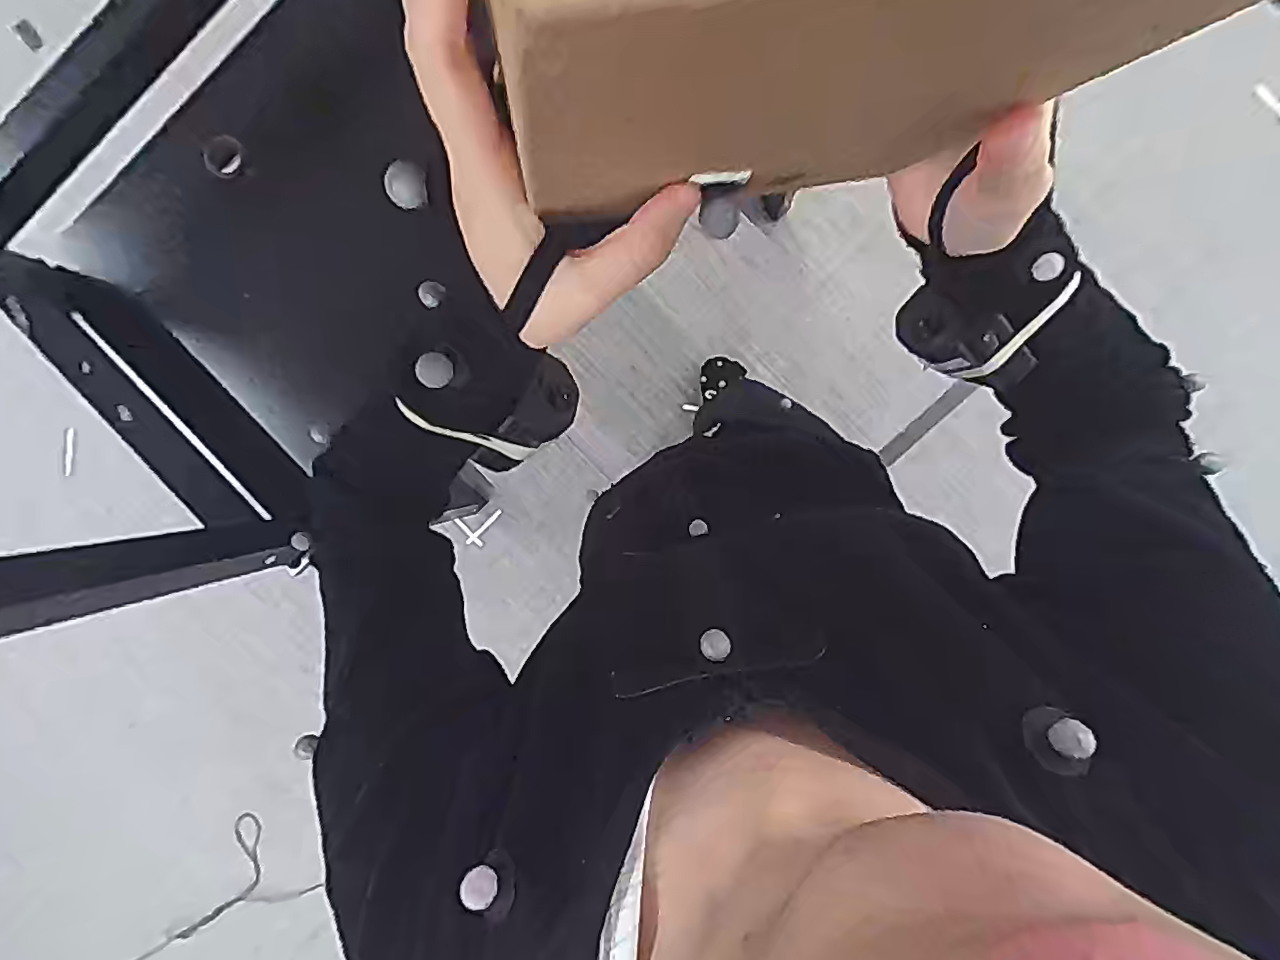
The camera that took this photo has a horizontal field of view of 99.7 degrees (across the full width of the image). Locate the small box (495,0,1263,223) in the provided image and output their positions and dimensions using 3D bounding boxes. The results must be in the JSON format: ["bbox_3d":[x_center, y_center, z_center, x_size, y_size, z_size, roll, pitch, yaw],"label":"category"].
[{"bbox_3d":[0.037,-0.185,0.138,0.168,0.176,0.179,-11,106,-6],"label":"small box"}]
